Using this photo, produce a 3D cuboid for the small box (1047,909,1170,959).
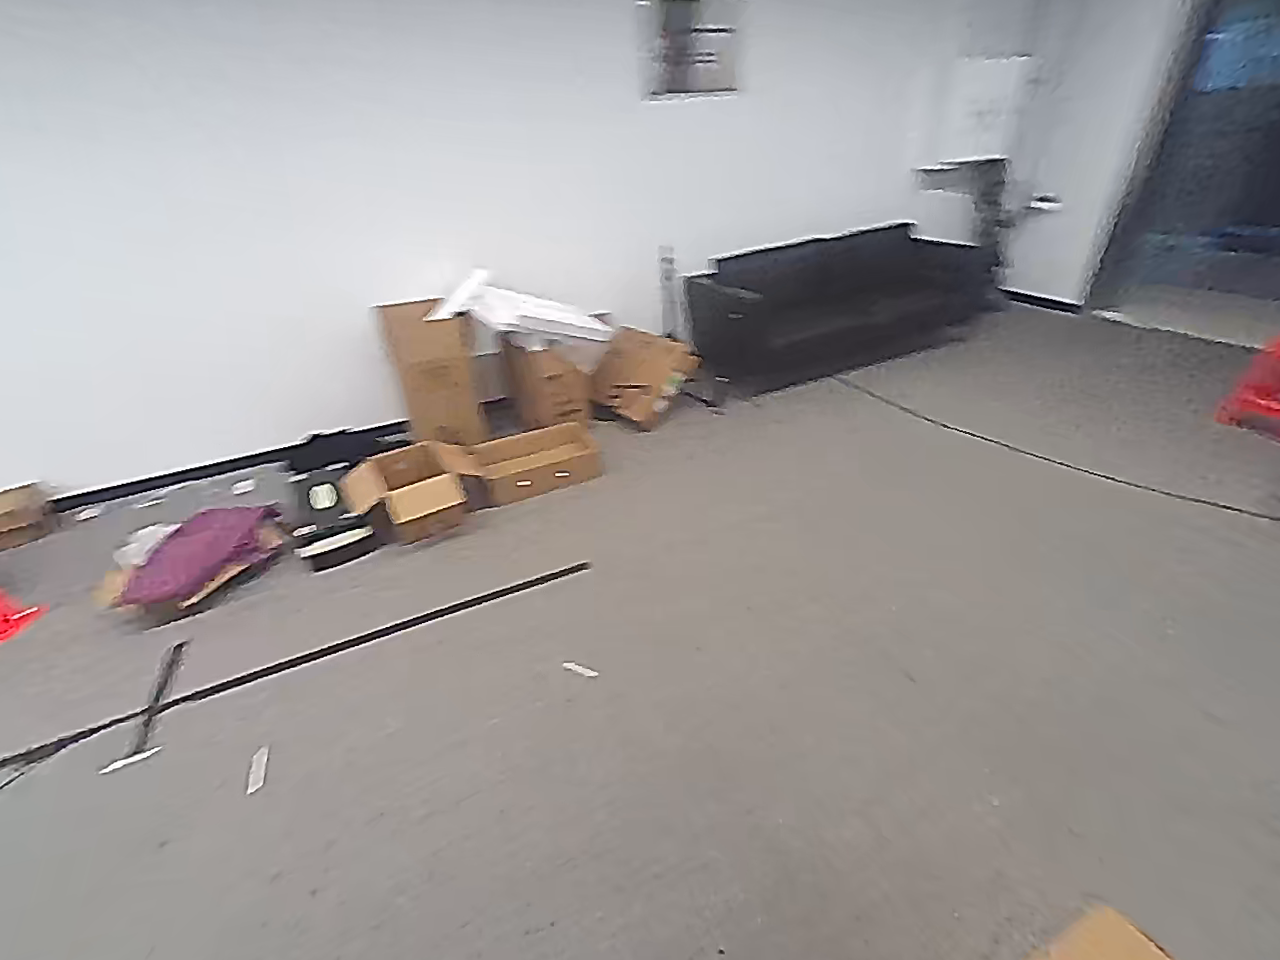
[{"bbox_3d":[0.473,0.586,0.531,0.179,0.176,0.168,-19,32,-17],"label":"small box"}]
